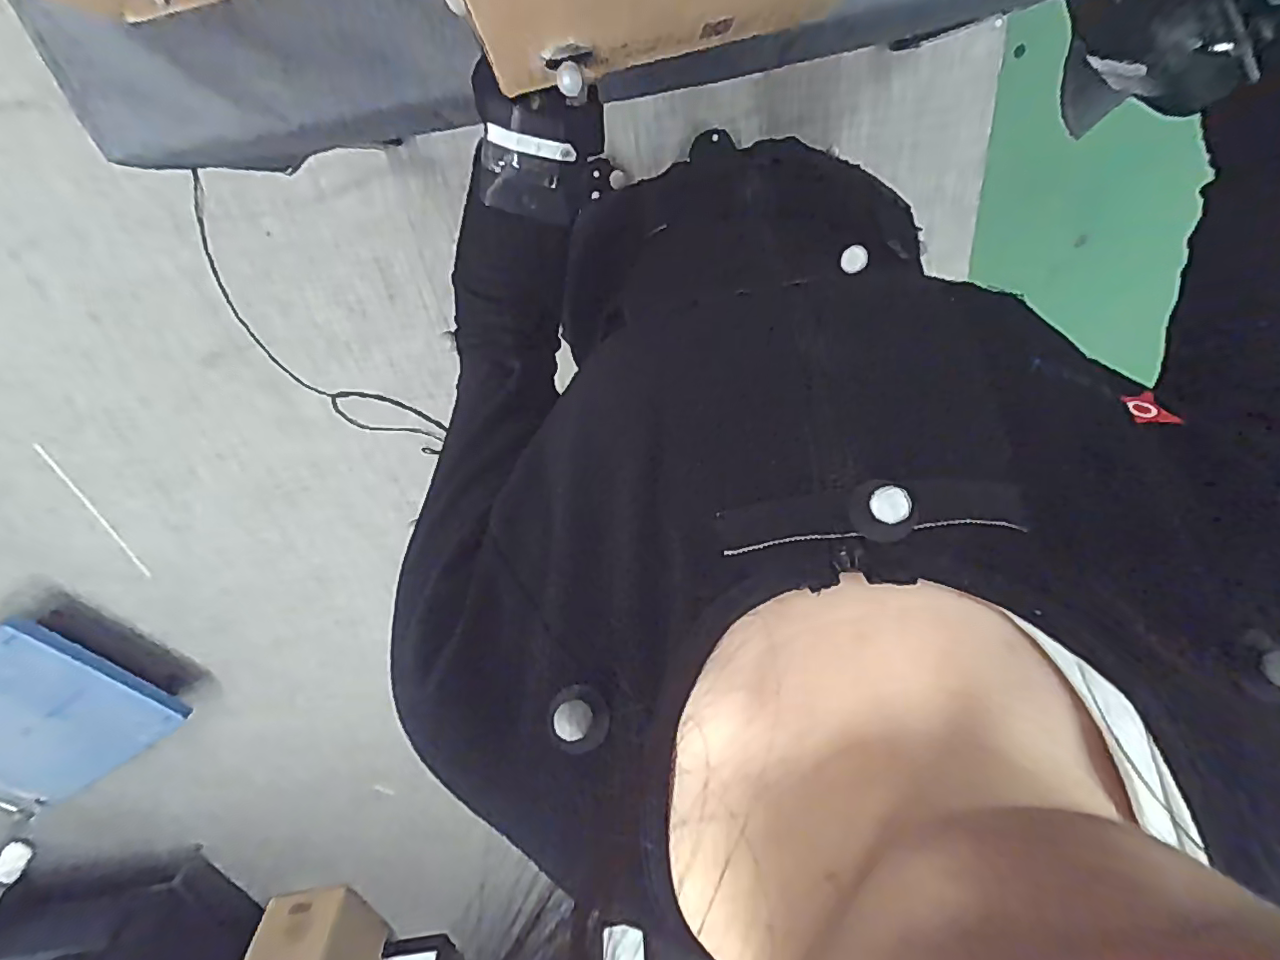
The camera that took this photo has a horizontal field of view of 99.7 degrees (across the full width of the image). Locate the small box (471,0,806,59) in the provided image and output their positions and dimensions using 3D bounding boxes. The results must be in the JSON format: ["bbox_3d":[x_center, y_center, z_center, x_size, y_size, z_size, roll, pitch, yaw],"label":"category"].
[{"bbox_3d":[-0.001,-0.263,0.159,0.168,0.176,0.179,-14,109,0],"label":"small box"}]
